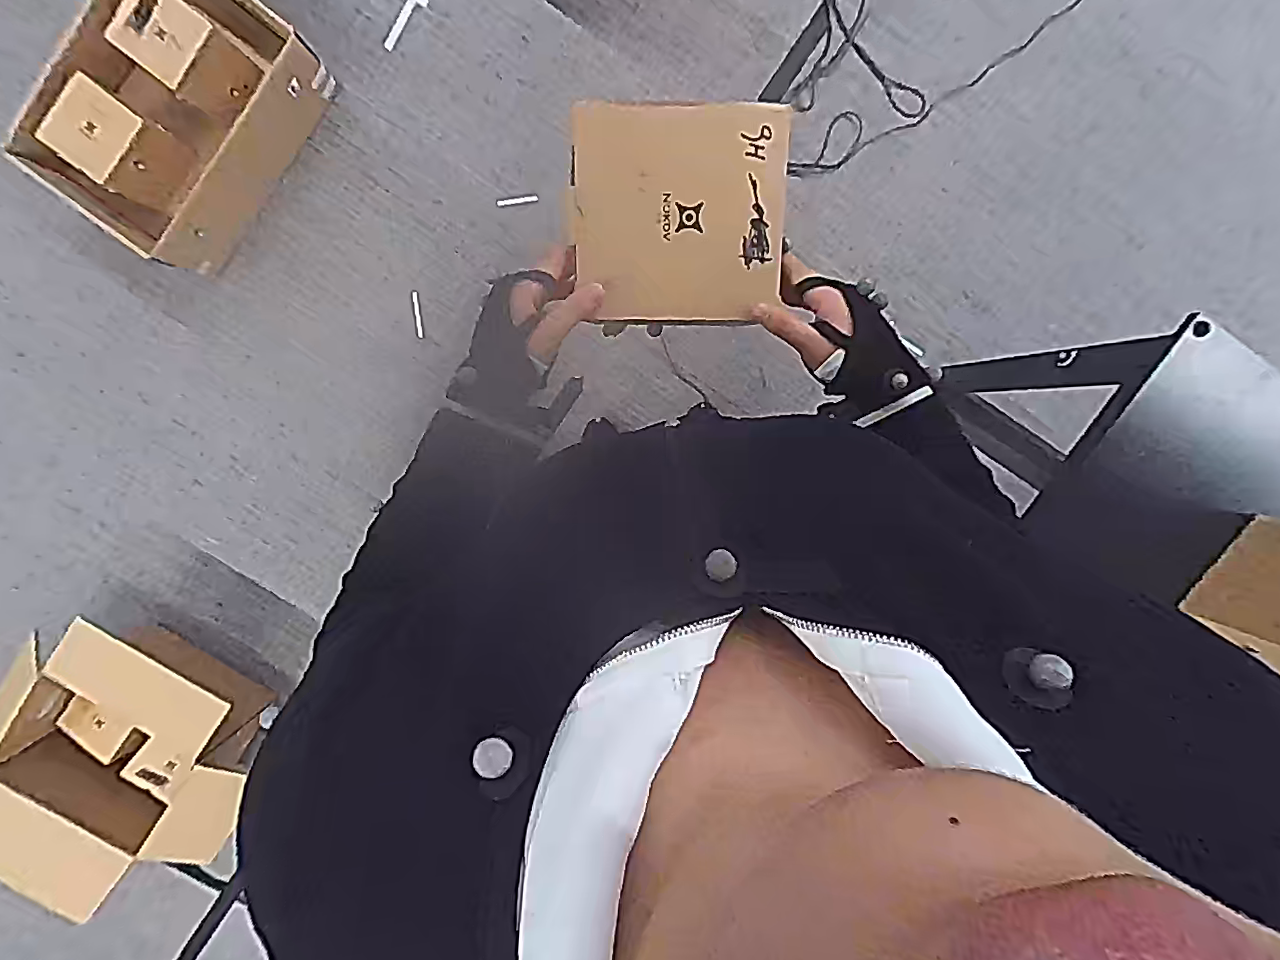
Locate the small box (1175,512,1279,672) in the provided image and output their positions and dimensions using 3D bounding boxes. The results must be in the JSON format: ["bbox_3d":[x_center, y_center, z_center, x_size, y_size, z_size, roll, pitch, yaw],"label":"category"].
[{"bbox_3d":[0.897,0.163,0.721,0.168,0.176,0.179,35,96,-5],"label":"small box"}]

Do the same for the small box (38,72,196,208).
[{"bbox_3d":[-1.205,-0.779,1.263,0.168,0.176,0.179,38,94,-7],"label":"small box"}]

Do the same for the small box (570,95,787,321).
[{"bbox_3d":[0.030,-0.244,0.526,0.179,0.176,0.168,0,104,-1],"label":"small box"}]
